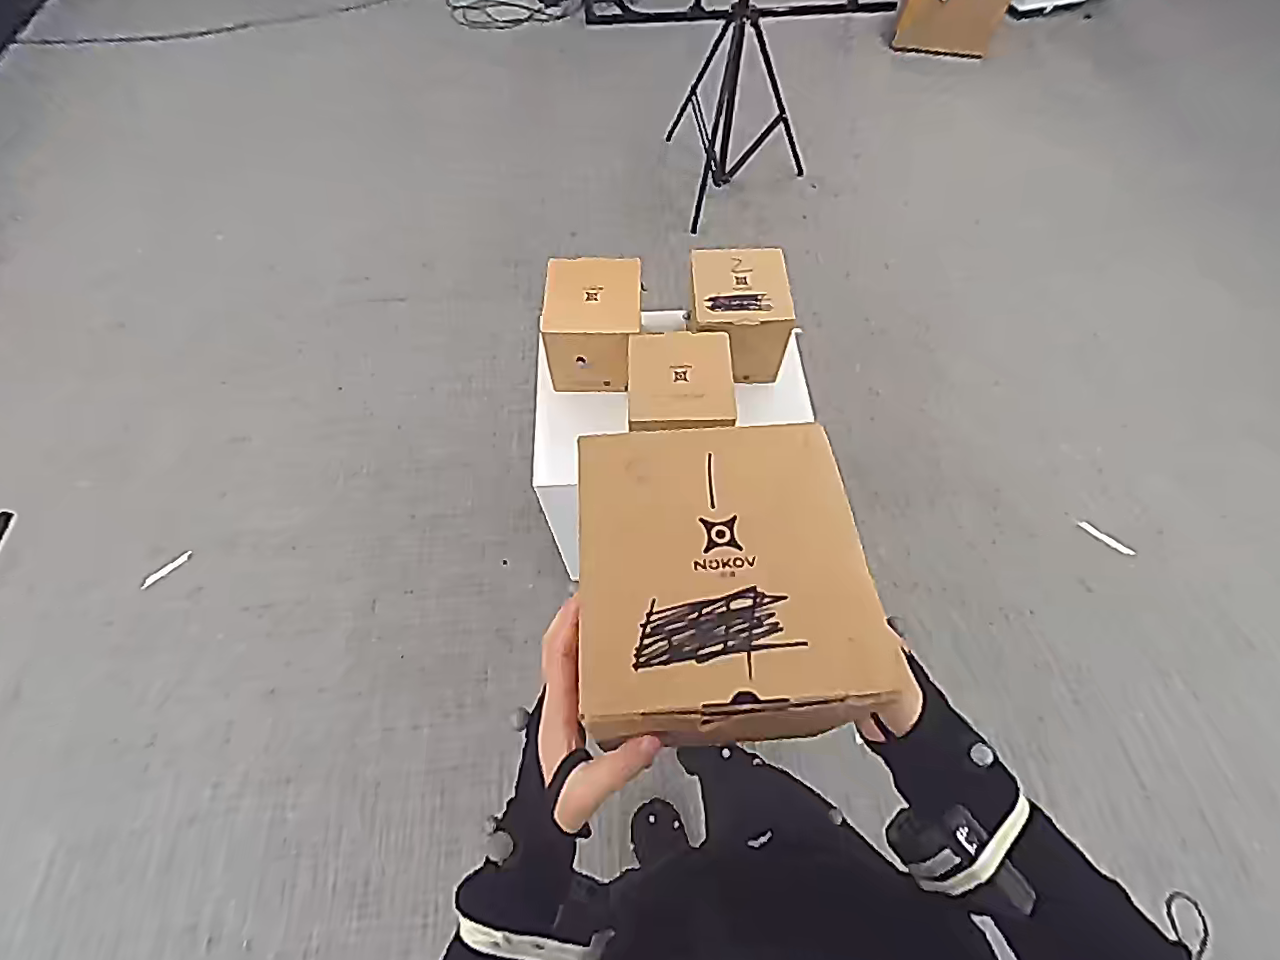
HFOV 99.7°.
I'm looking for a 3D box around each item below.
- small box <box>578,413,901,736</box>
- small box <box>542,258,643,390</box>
[{"bbox_3d":[0.047,0.076,0.380,0.168,0.176,0.179,-3,58,-2],"label":"small box"},{"bbox_3d":[-0.078,-0.280,0.990,0.168,0.176,0.179,0,63,0],"label":"small box"}]
